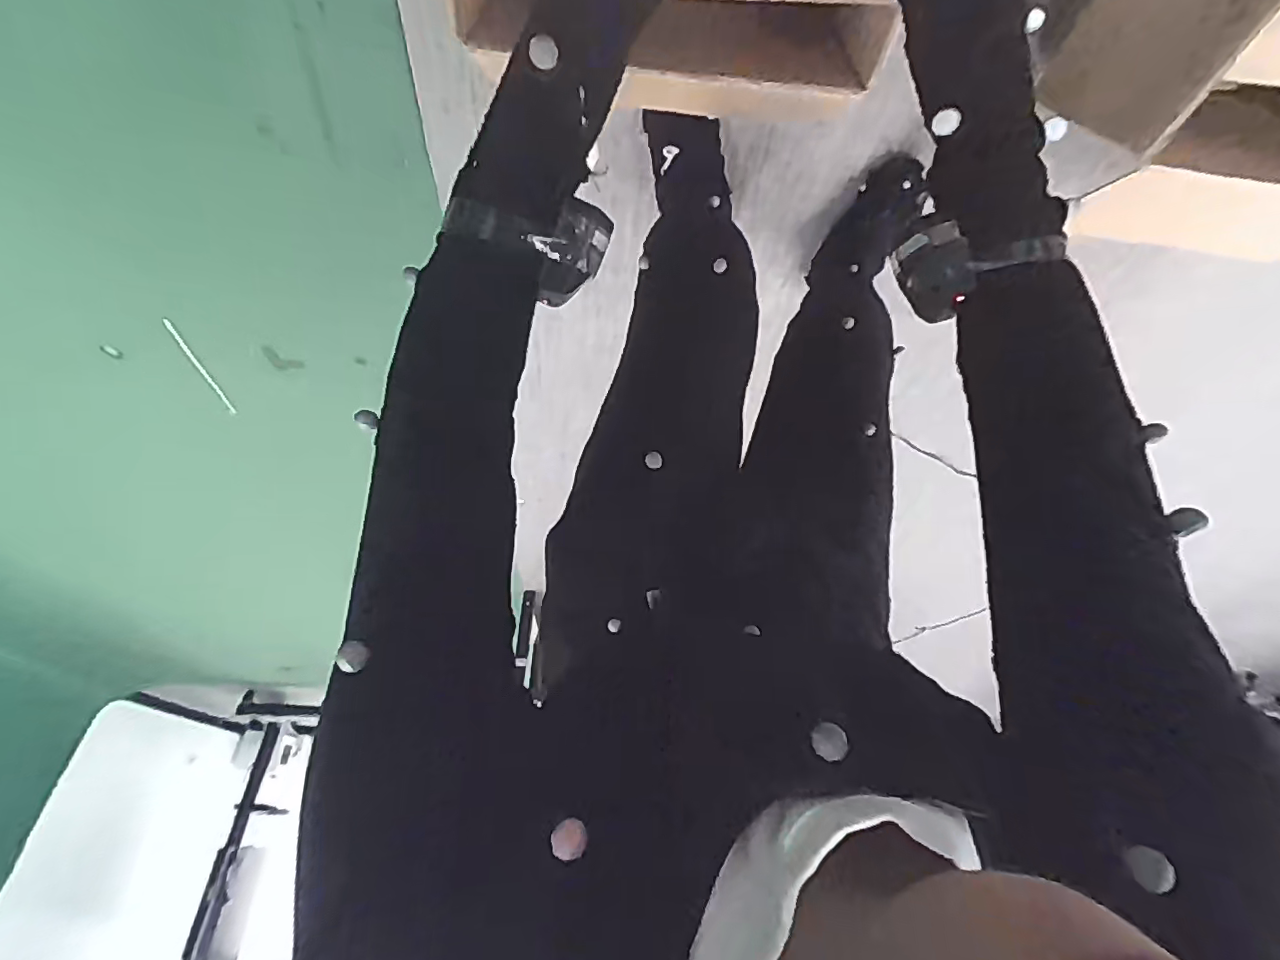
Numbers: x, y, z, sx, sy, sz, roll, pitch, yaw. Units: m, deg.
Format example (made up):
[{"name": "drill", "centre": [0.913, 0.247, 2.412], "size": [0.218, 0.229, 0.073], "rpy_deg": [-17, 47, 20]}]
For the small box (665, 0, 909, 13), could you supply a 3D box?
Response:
[{"name": "small box", "centre": [0.106, -0.448, 0.367], "size": [0.179, 0.176, 0.168], "rpy_deg": [2, 143, 0]}]
